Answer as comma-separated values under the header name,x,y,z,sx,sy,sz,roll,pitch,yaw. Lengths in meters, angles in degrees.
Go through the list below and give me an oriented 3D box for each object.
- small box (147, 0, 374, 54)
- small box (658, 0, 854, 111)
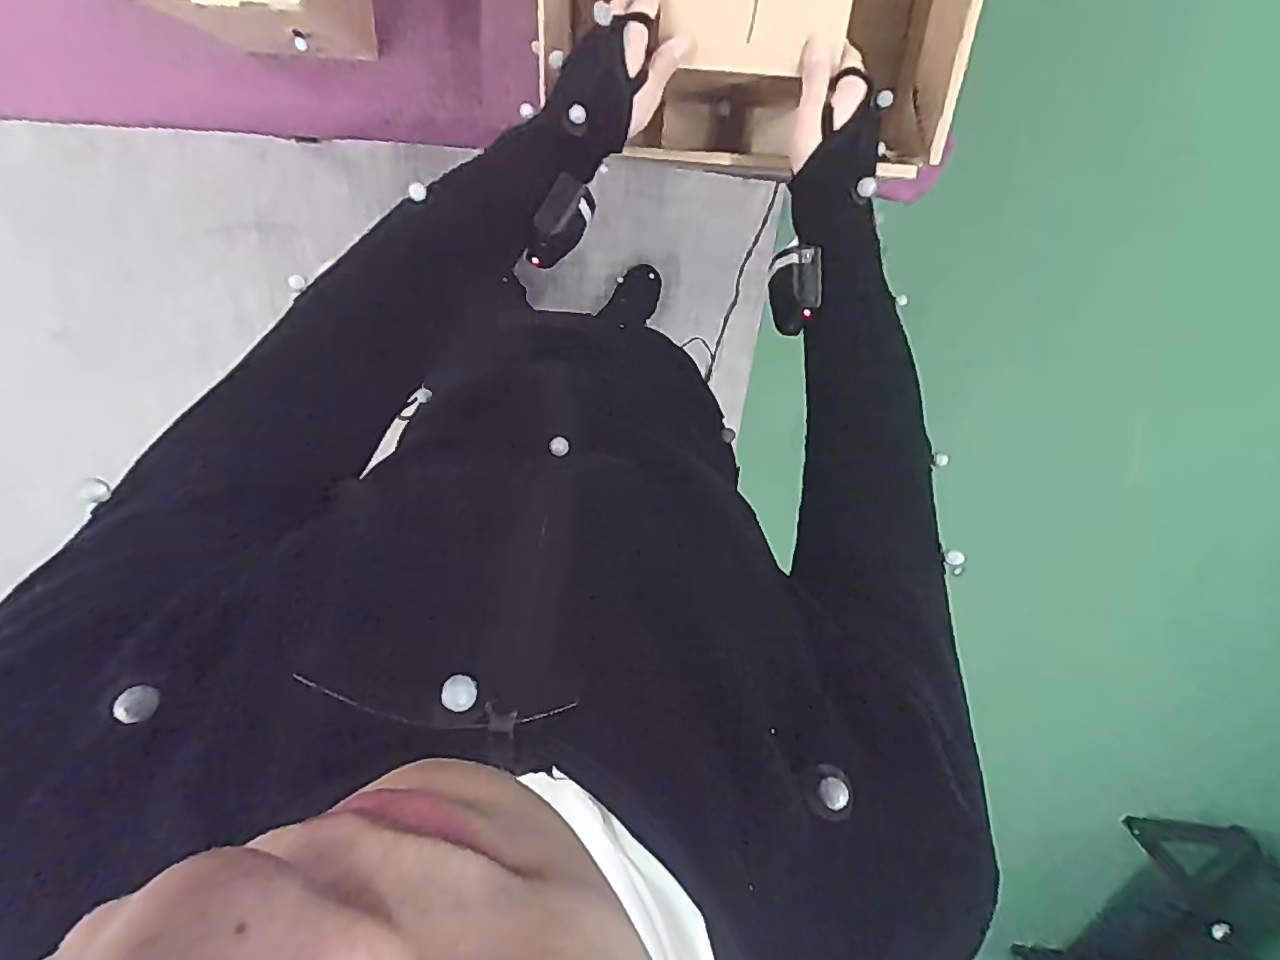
name,x,y,z,sx,sy,sz,roll,pitch,yaw
small box,-0.386,-0.556,0.537,0.168,0.176,0.179,4,114,-3
small box,0.106,-0.478,0.518,0.168,0.176,0.179,4,116,0
